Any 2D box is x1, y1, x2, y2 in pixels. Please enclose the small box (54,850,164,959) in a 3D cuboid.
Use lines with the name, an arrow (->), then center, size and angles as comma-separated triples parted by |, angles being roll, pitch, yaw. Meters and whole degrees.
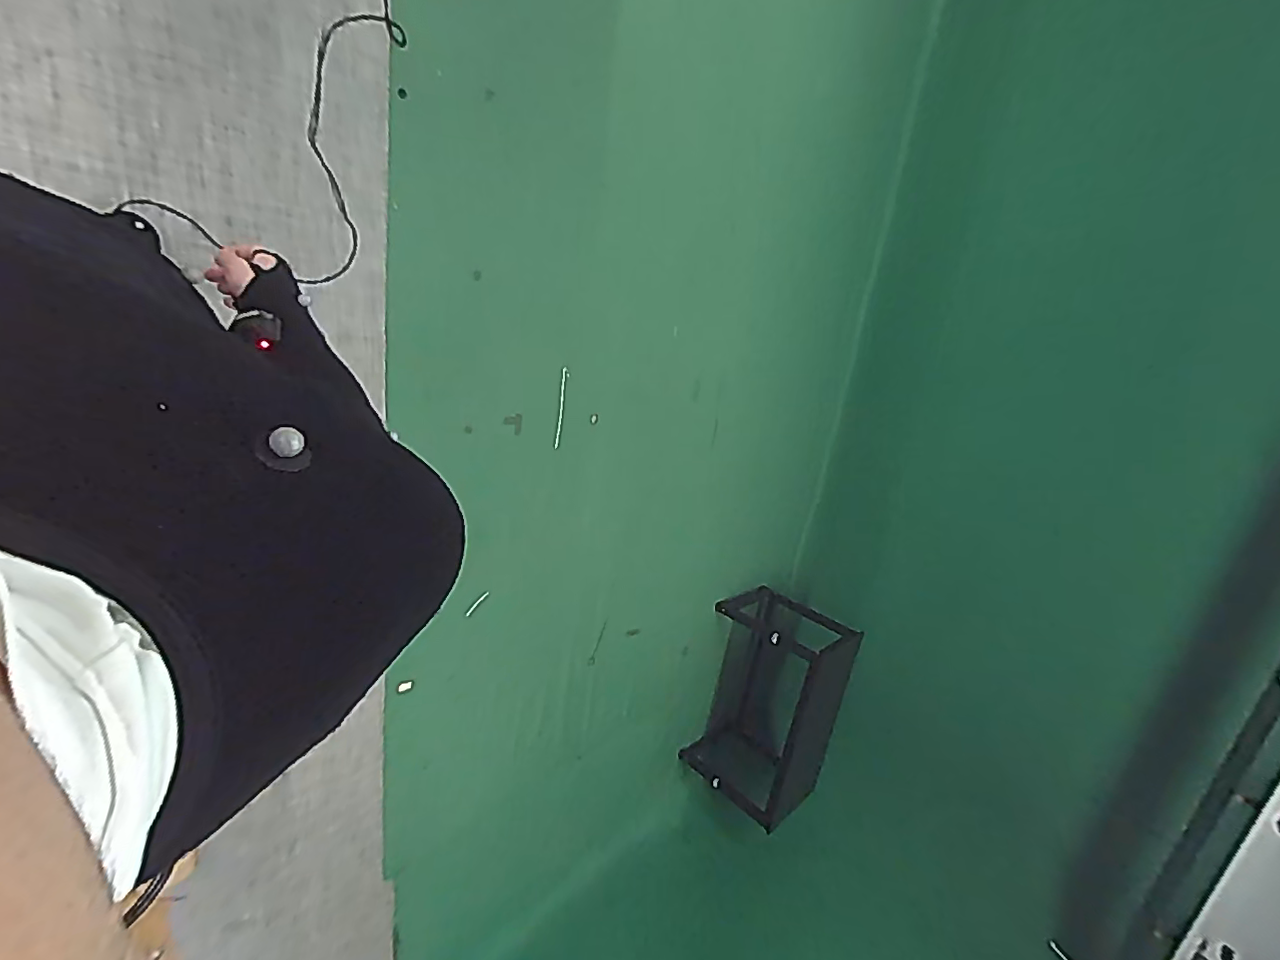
small box -> -1.261, 1.039, 1.283 | 0.179, 0.176, 0.168 | 2, 107, -48
